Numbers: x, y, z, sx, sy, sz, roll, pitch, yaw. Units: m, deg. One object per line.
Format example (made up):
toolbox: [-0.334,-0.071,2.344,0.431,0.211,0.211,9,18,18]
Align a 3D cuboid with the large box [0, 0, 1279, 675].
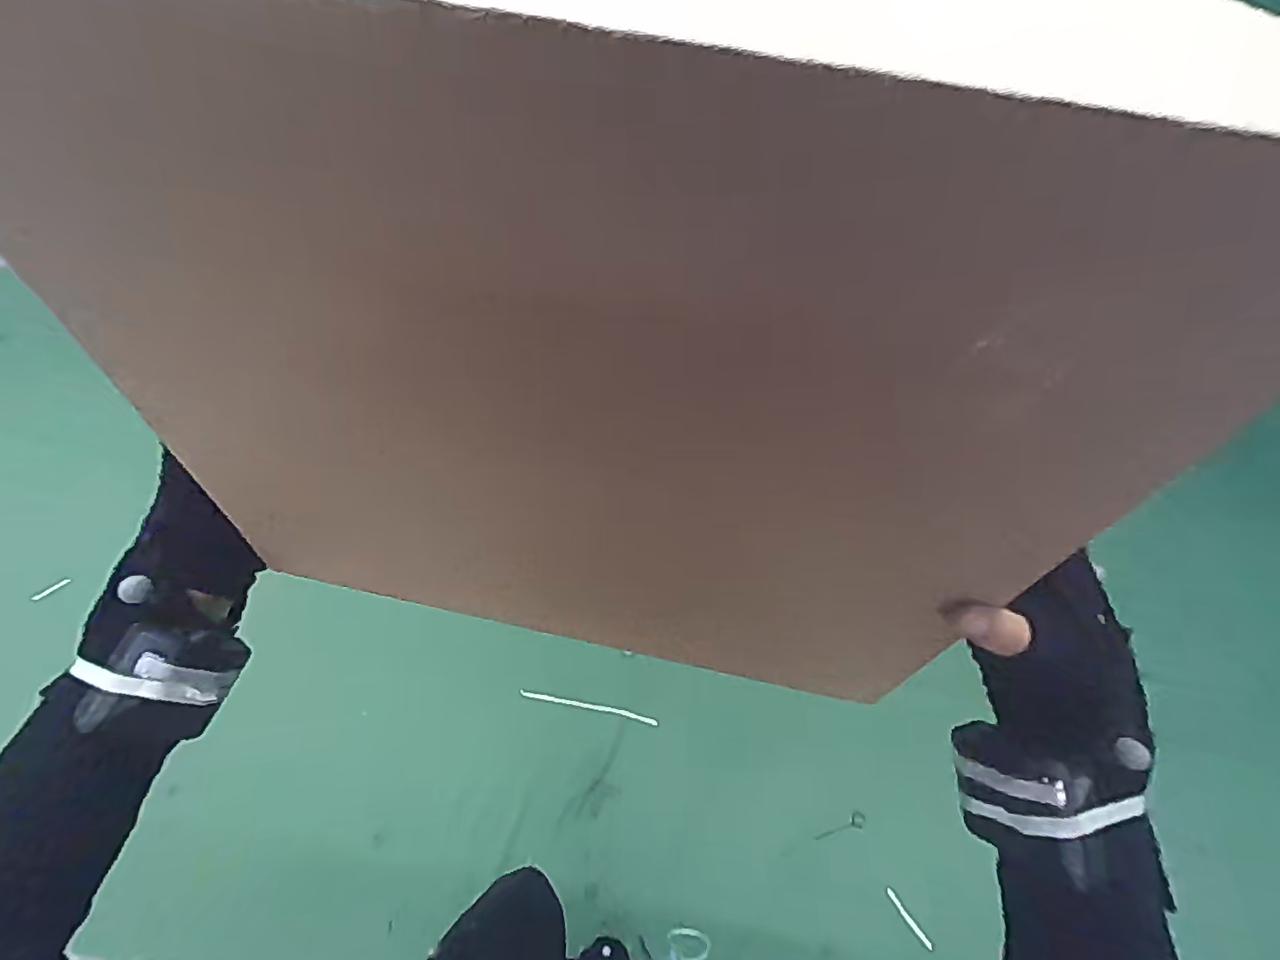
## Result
large box: [-0.003,-0.115,0.343,0.408,0.320,0.320,12,51,2]
